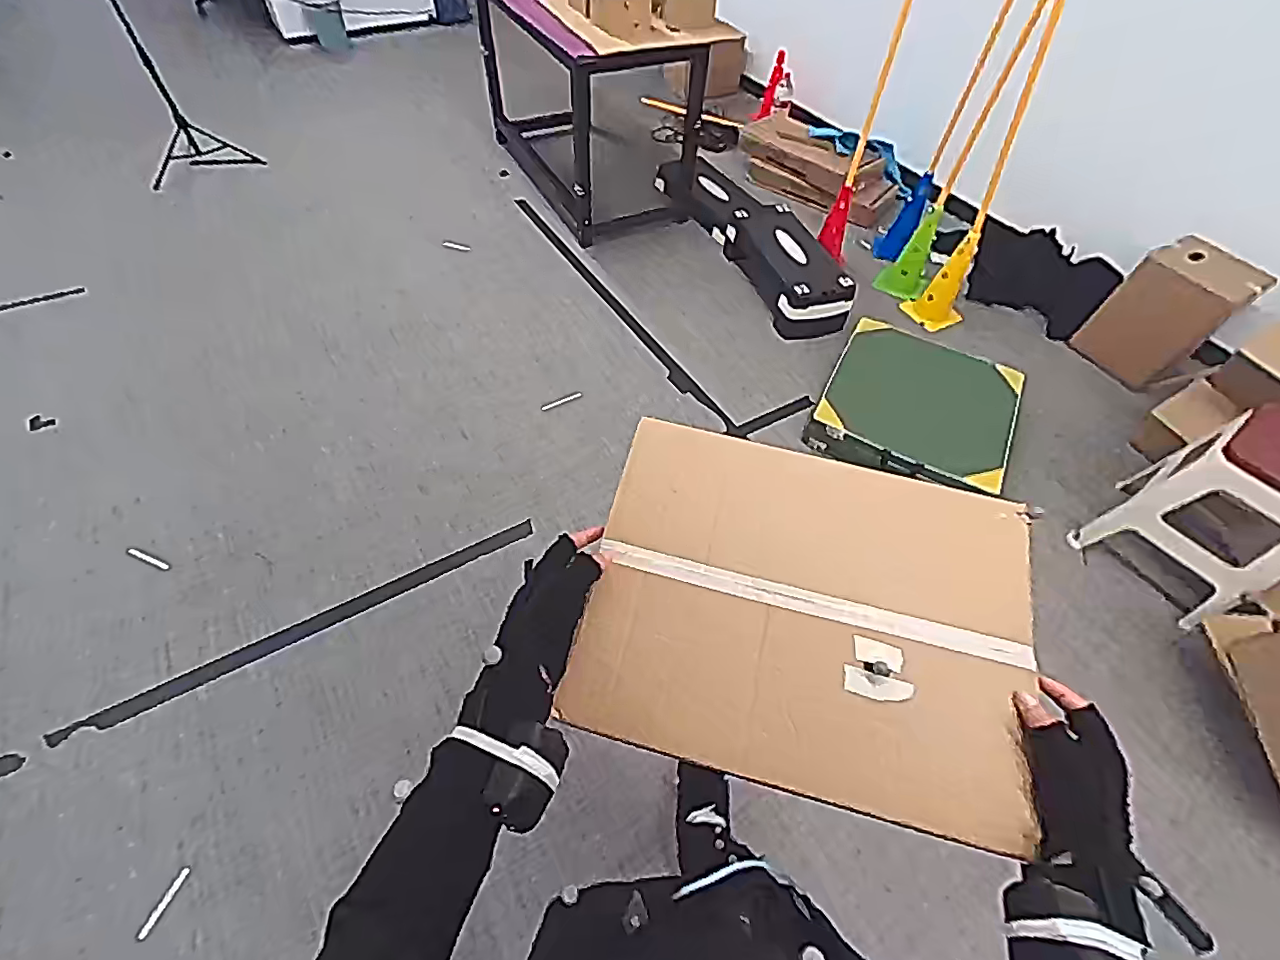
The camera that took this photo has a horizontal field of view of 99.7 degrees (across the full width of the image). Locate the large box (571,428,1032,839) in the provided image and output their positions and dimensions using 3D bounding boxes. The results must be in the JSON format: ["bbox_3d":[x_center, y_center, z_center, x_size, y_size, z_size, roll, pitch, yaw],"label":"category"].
[{"bbox_3d":[0.161,0.180,0.654,0.408,0.320,0.320,14,66,6],"label":"large box"}]
